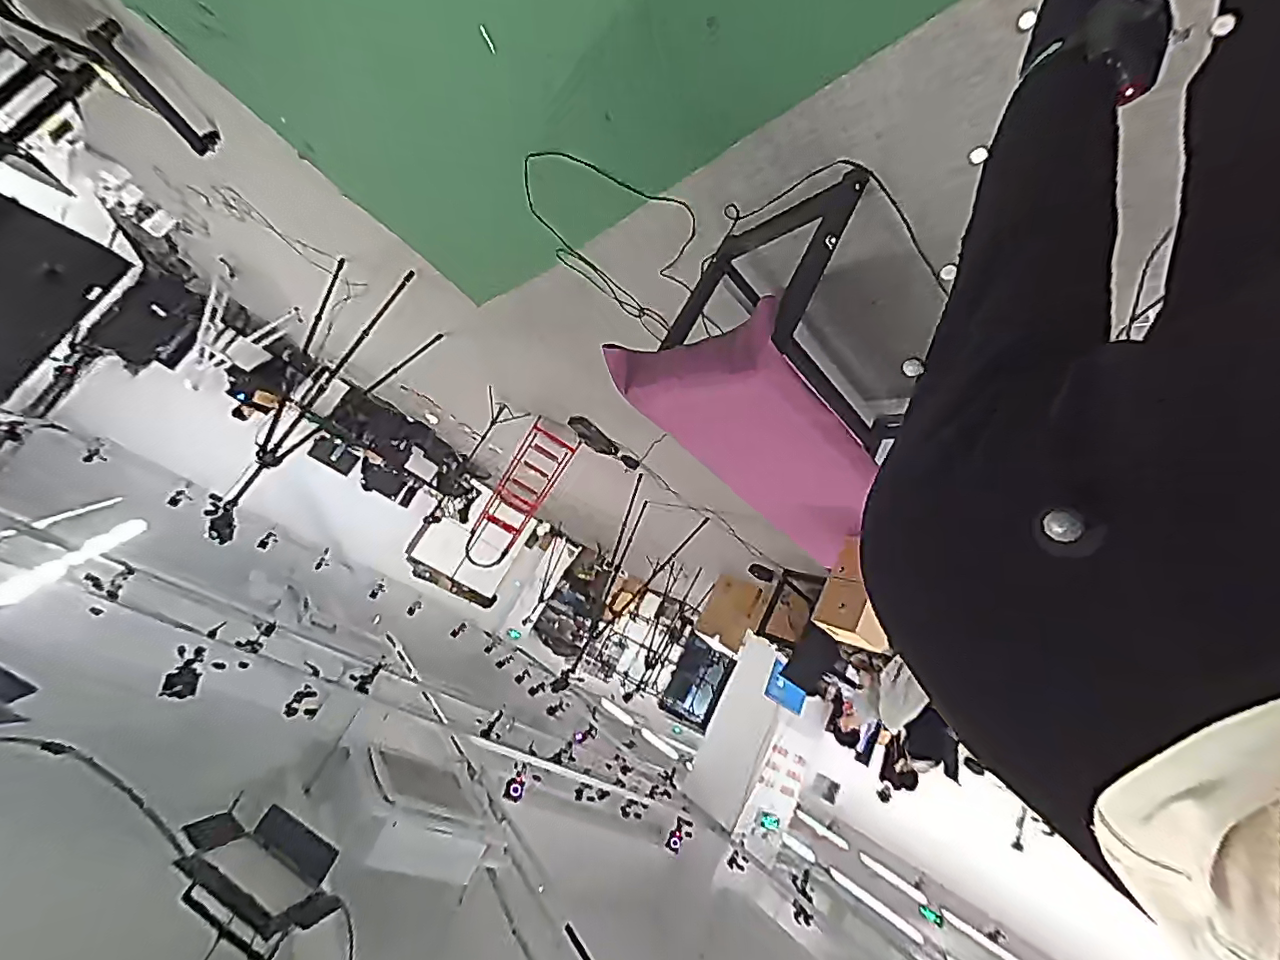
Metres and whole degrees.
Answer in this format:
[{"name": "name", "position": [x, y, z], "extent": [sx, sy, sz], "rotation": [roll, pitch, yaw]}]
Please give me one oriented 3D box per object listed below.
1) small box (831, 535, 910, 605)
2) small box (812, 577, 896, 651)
[{"name": "small box", "position": [0.794, 0.301, 1.843], "extent": [0.168, 0.176, 0.179], "rotation": [37, 163, -27]}, {"name": "small box", "position": [0.715, 0.438, 1.800], "extent": [0.168, 0.176, 0.179], "rotation": [37, 162, -28]}]
